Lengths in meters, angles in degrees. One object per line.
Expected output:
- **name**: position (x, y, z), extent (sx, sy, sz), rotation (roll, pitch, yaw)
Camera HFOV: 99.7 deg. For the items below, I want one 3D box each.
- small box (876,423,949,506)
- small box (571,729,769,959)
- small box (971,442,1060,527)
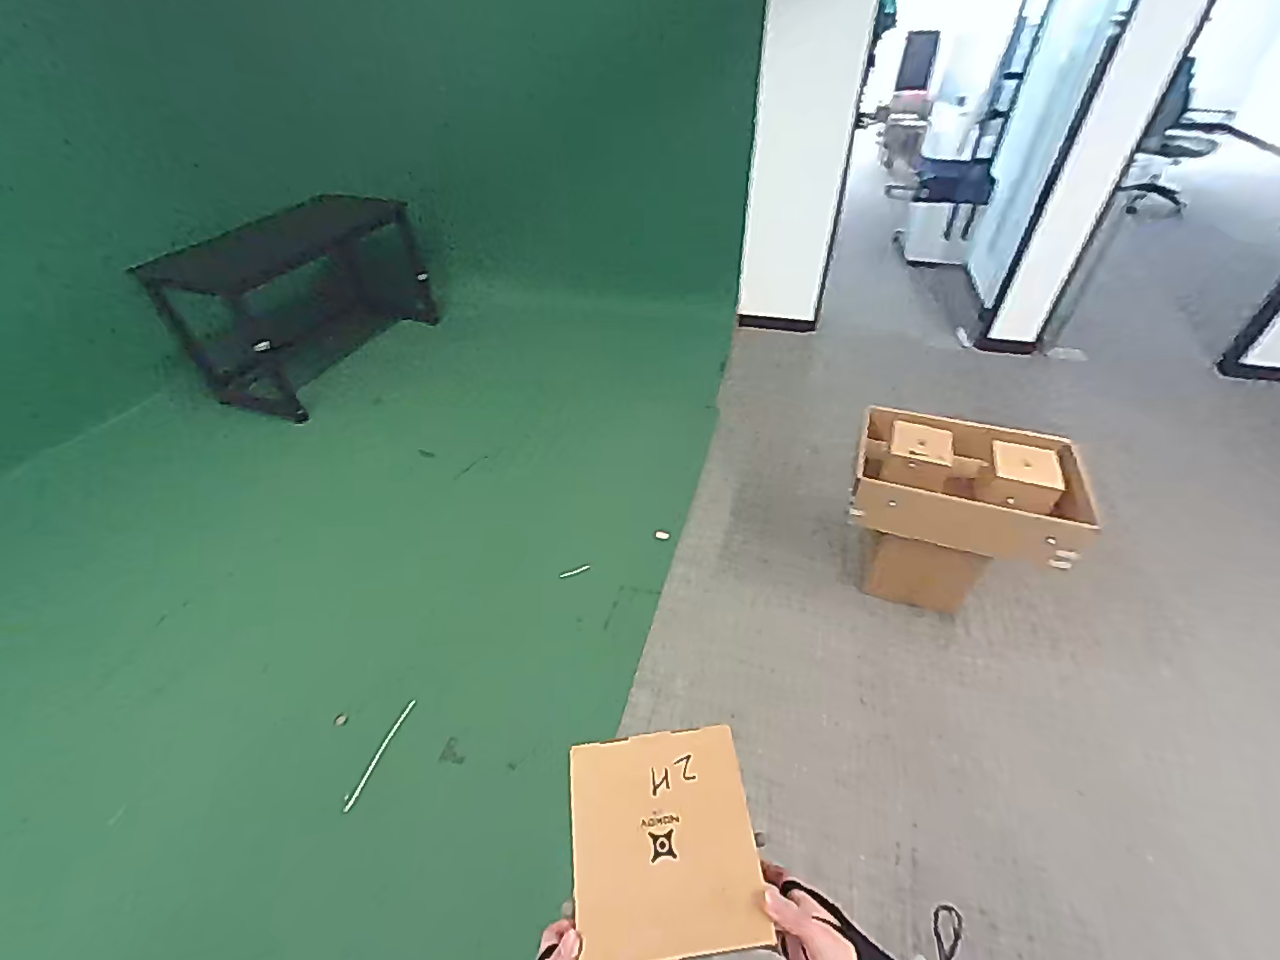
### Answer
- **small box**: position (0.851, -0.050, 1.692), extent (0.168, 0.176, 0.179), rotation (14, 45, 19)
- **small box**: position (0.024, 0.378, 0.552), extent (0.168, 0.176, 0.179), rotation (-6, 48, -2)
- **small box**: position (1.110, 0.016, 1.612), extent (0.168, 0.176, 0.179), rotation (13, 45, 17)
